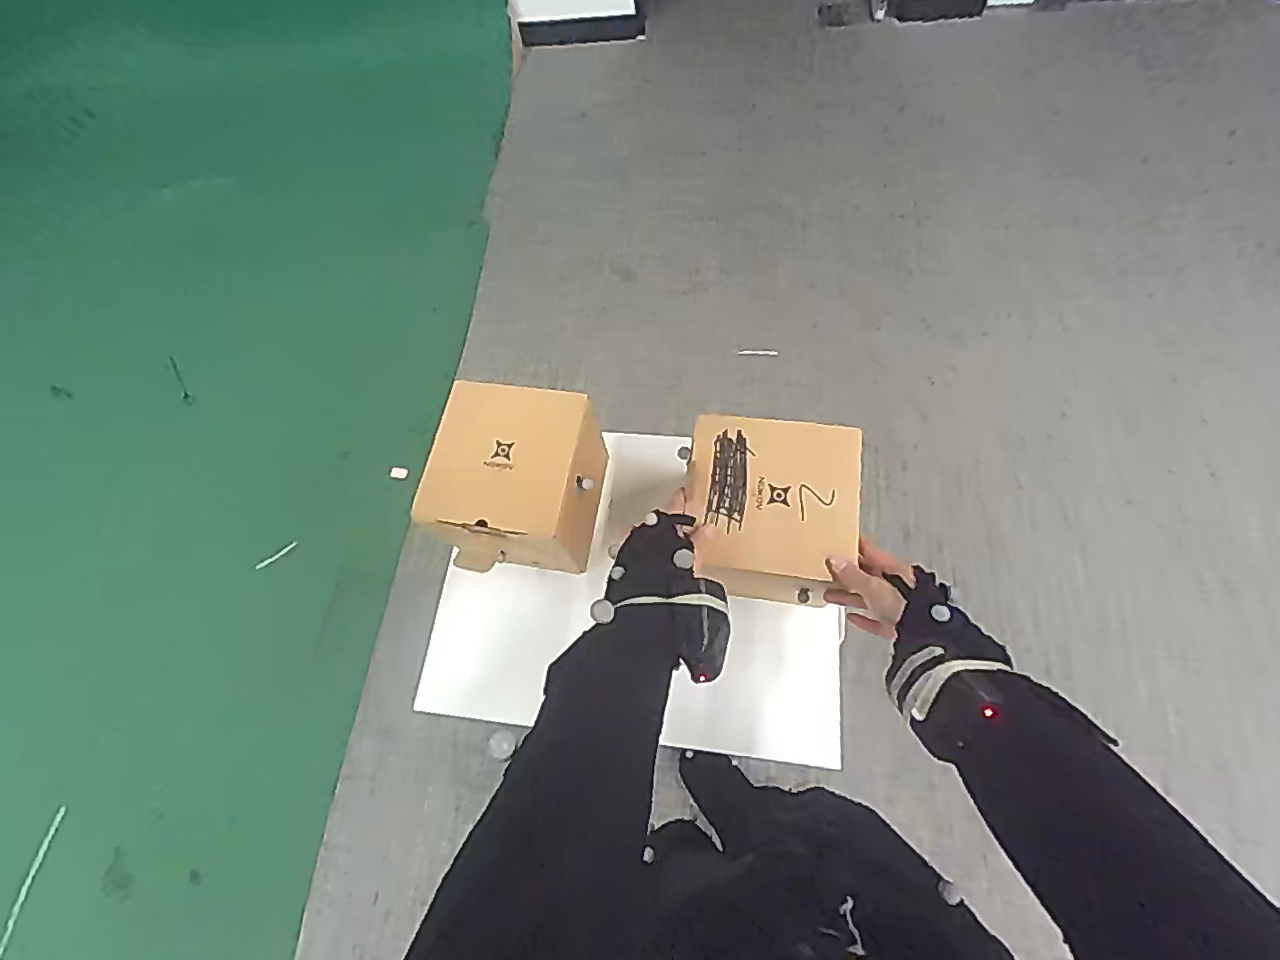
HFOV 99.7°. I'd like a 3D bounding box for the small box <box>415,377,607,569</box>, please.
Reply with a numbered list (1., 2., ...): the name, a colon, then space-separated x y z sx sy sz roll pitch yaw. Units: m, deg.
1. small box: -0.142 -0.002 0.671 0.168 0.176 0.179 8 70 8
